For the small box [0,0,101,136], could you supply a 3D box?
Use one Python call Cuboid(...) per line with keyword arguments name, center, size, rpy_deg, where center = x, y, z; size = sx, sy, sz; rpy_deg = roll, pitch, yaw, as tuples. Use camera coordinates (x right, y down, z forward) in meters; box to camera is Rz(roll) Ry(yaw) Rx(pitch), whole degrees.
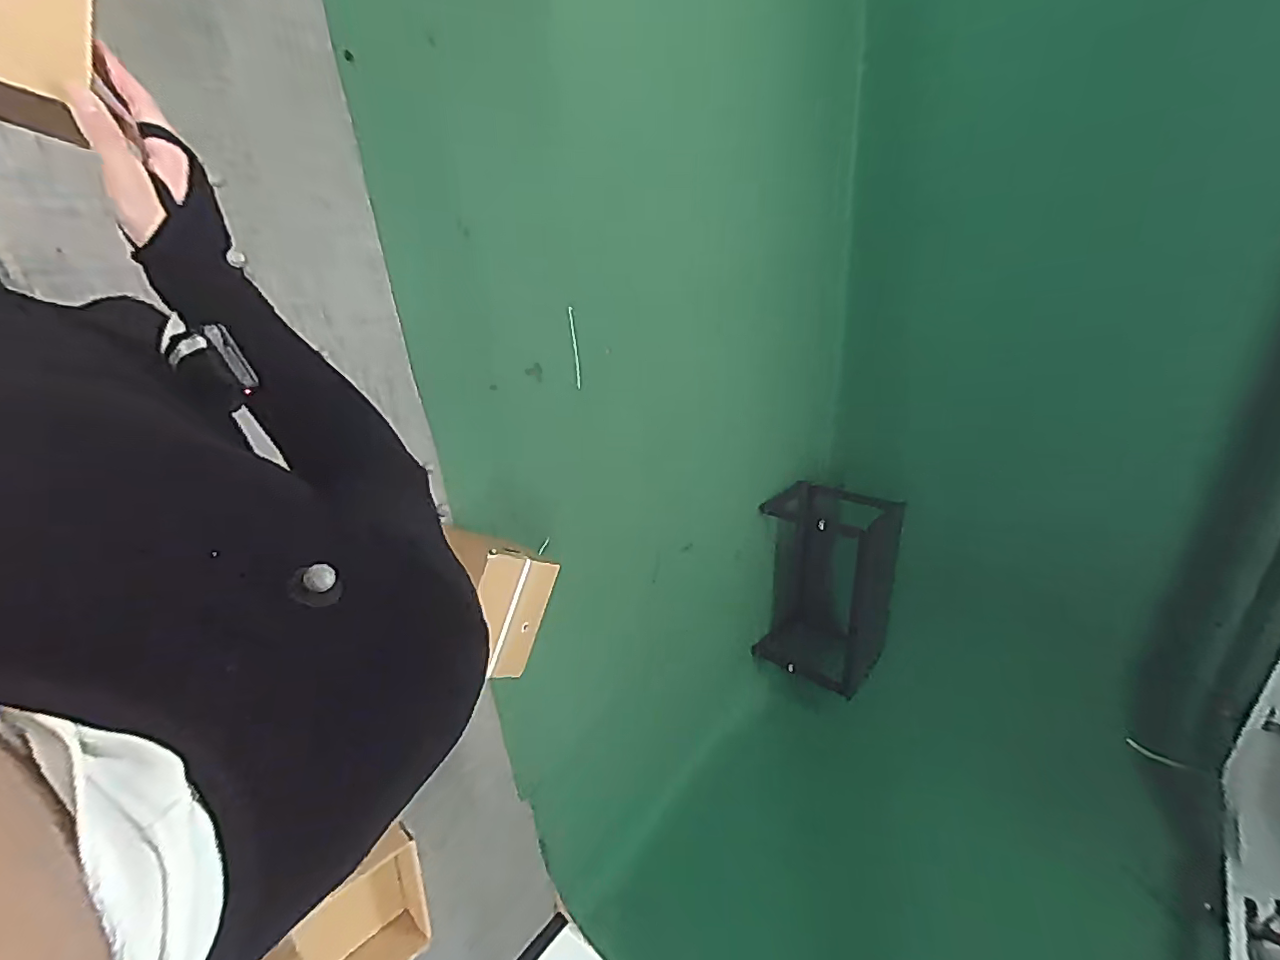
Cuboid(name="small box", center=(-0.503, -0.384, 0.386), size=(0.168, 0.176, 0.179), rpy_deg=(1, 105, -46))
